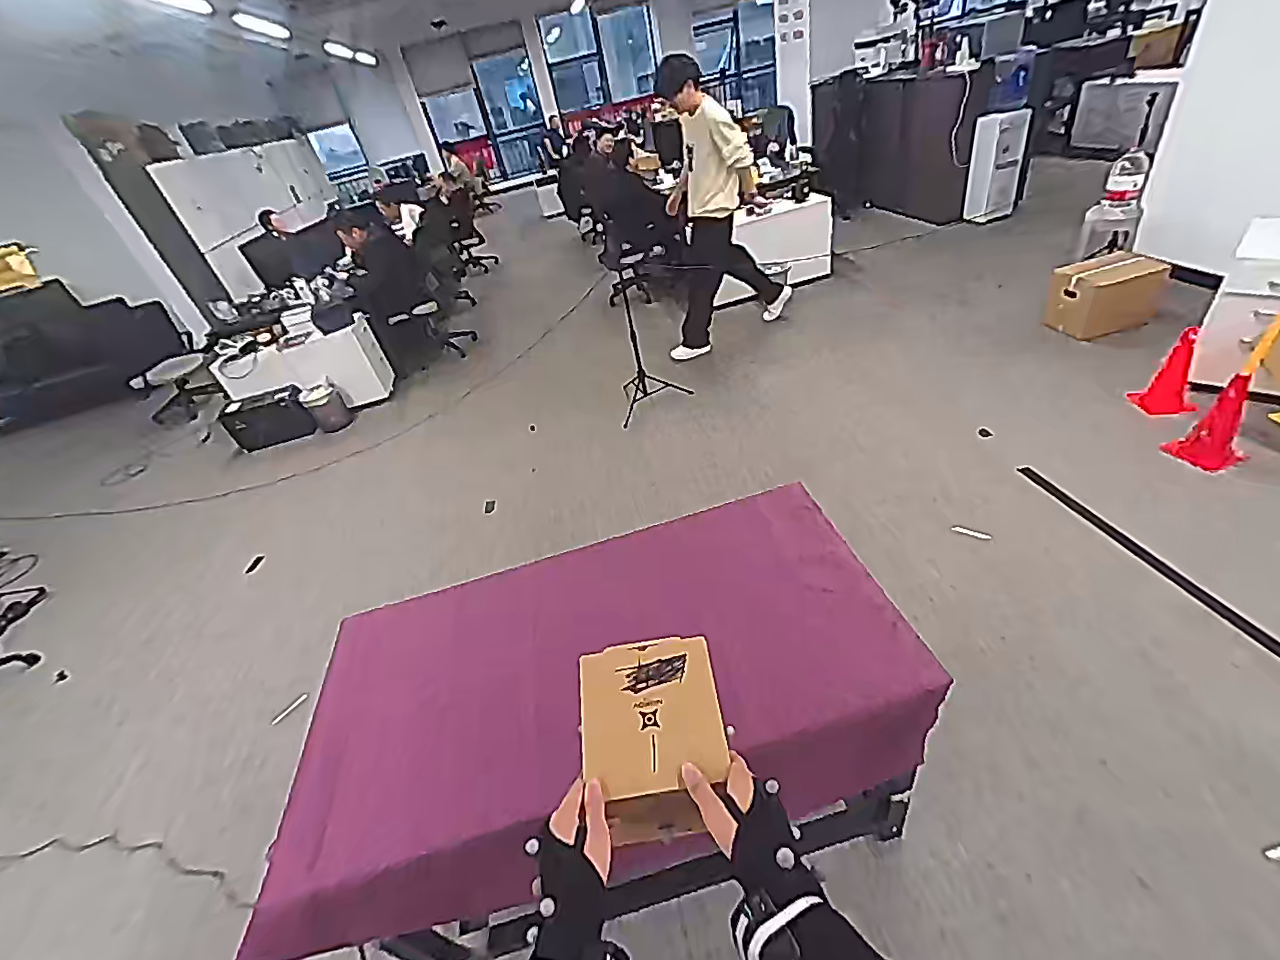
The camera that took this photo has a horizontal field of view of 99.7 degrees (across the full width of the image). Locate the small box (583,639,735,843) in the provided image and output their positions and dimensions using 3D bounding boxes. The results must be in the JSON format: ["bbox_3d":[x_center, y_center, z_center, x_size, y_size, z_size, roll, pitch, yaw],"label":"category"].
[{"bbox_3d":[0.023,0.335,0.696,0.168,0.176,0.179,-10,43,1],"label":"small box"}]
